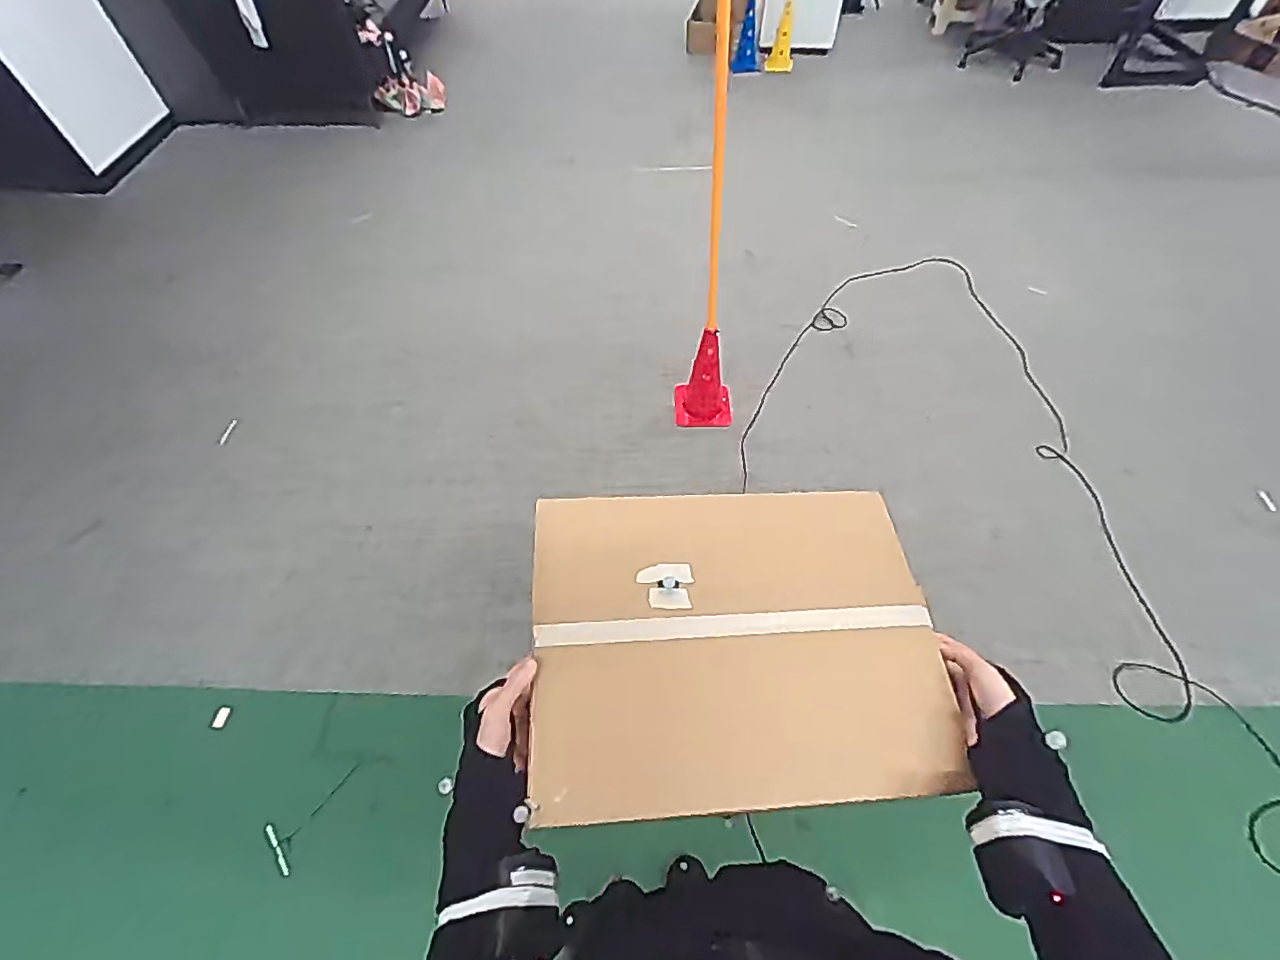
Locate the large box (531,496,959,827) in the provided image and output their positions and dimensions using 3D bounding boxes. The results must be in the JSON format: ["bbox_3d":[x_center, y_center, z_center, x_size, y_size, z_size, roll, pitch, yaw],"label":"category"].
[{"bbox_3d":[0.084,0.234,0.685,0.408,0.320,0.320,-2,58,-5],"label":"large box"}]
